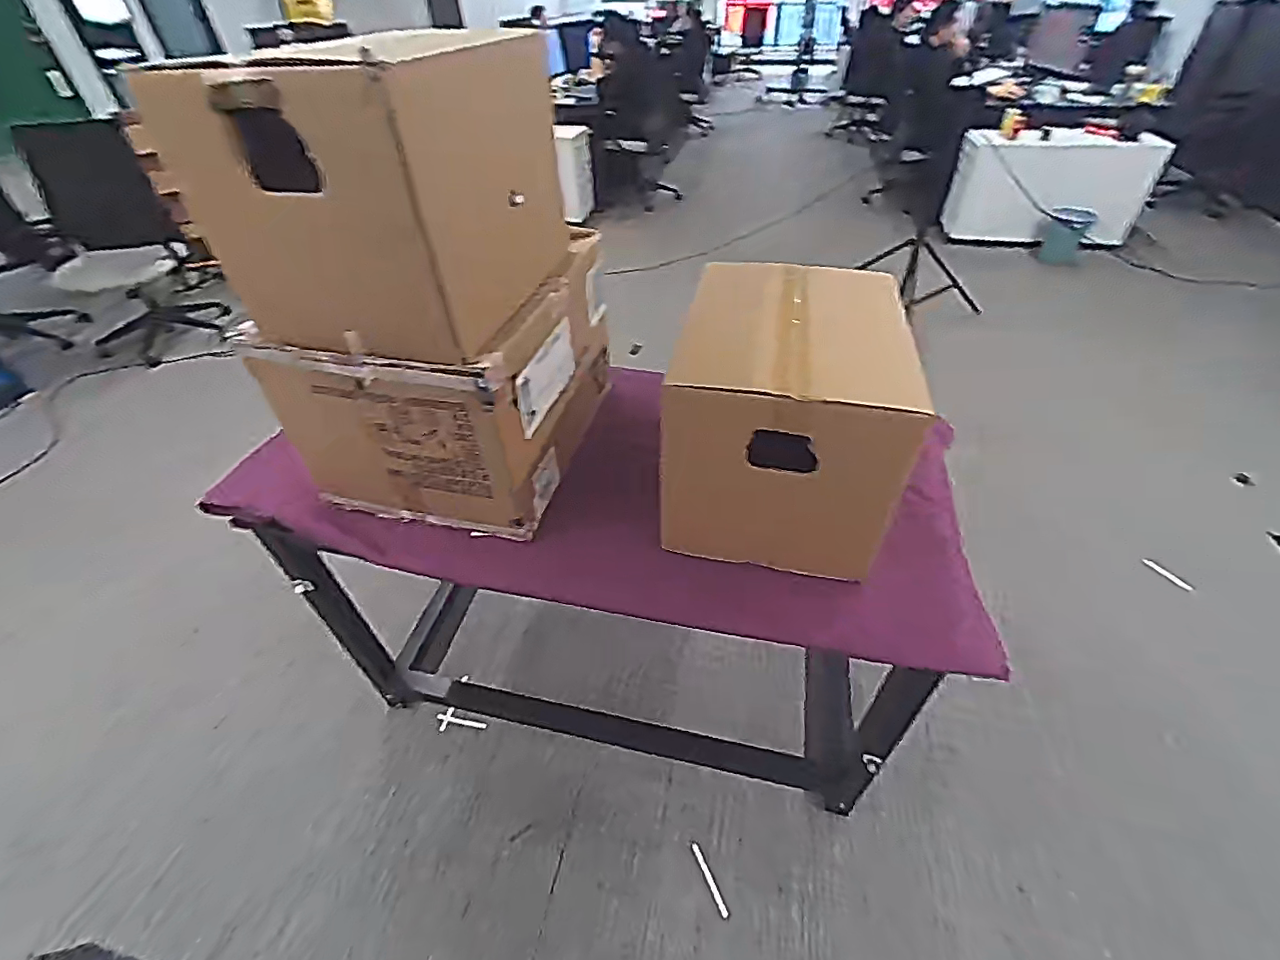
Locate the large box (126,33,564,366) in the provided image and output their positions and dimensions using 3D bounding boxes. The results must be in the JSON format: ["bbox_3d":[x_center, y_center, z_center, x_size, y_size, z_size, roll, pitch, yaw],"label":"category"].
[{"bbox_3d":[-0.321,-0.402,0.752,0.320,0.320,0.408,6,44,11],"label":"large box"}]
